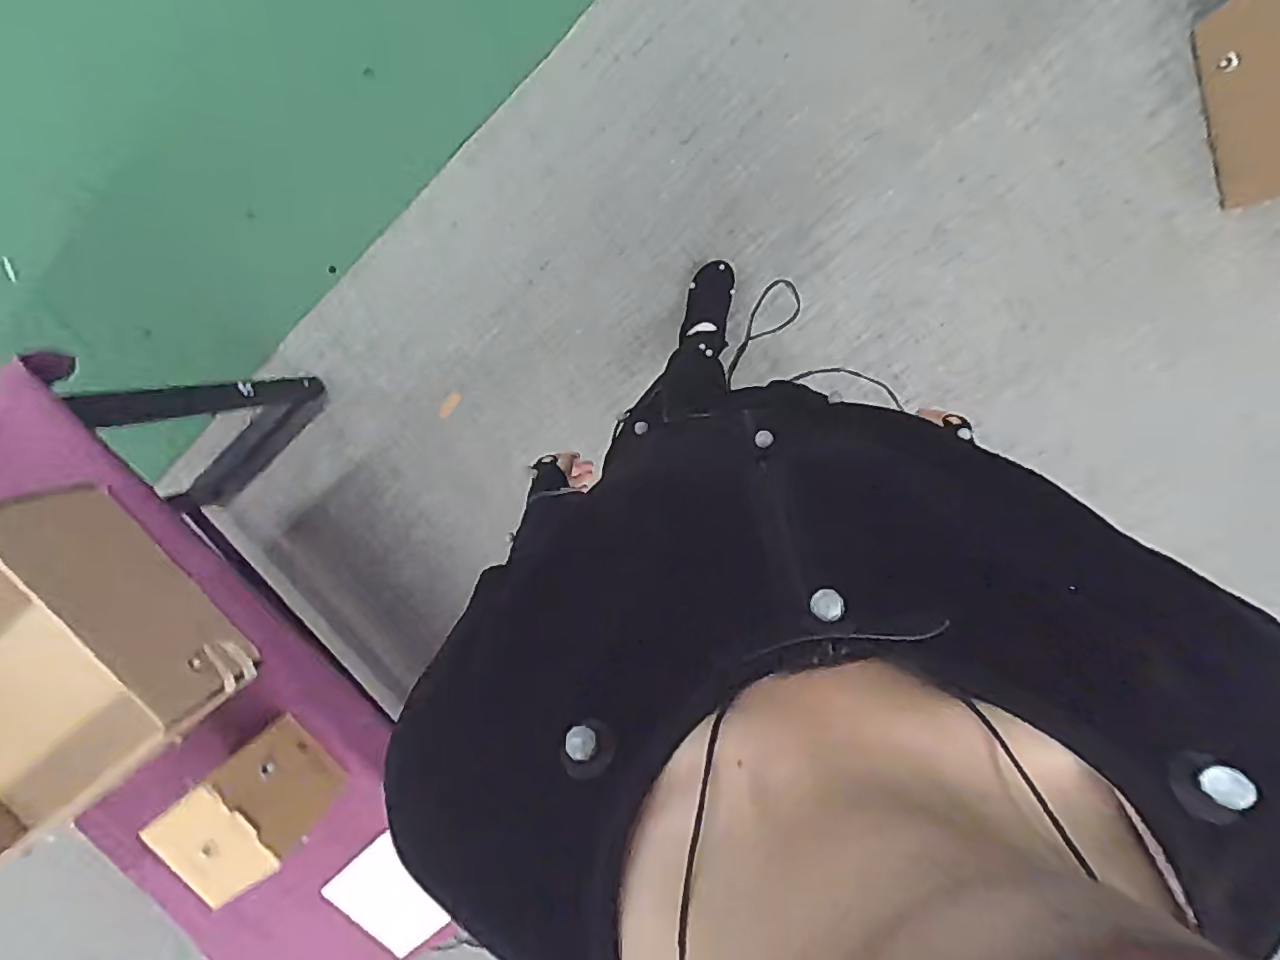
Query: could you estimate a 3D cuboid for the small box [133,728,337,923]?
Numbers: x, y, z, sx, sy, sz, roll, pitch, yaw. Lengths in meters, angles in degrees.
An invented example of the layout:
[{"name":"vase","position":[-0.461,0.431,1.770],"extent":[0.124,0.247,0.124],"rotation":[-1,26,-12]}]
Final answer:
[{"name":"small box","position":[-0.629,0.542,0.869],"extent":[0.179,0.176,0.168],"rotation":[-36,96,14]}]
